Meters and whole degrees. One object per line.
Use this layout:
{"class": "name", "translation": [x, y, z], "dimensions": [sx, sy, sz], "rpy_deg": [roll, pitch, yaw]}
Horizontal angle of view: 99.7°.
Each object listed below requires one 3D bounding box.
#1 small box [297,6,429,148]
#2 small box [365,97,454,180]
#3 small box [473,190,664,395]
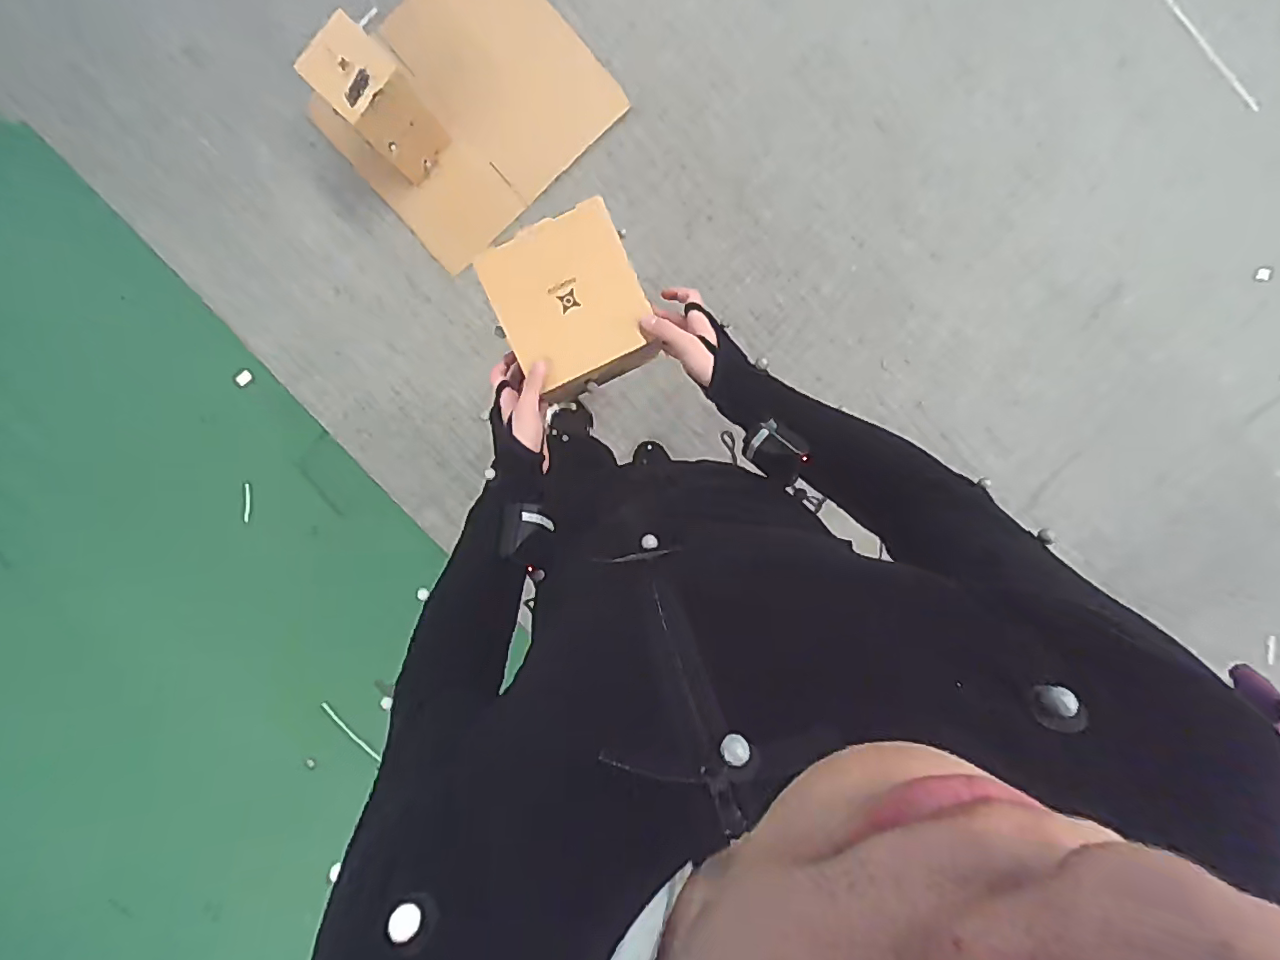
{"class": "small box", "translation": [-0.627, -0.911, 1.250], "dimensions": [0.179, 0.176, 0.168], "rpy_deg": [44, 96, -4]}
{"class": "small box", "translation": [-0.624, -0.931, 1.413], "dimensions": [0.179, 0.176, 0.168], "rpy_deg": [41, 96, -4]}
{"class": "small box", "translation": [-0.076, -0.218, 0.688], "dimensions": [0.168, 0.176, 0.179], "rpy_deg": [-26, 93, 4]}
